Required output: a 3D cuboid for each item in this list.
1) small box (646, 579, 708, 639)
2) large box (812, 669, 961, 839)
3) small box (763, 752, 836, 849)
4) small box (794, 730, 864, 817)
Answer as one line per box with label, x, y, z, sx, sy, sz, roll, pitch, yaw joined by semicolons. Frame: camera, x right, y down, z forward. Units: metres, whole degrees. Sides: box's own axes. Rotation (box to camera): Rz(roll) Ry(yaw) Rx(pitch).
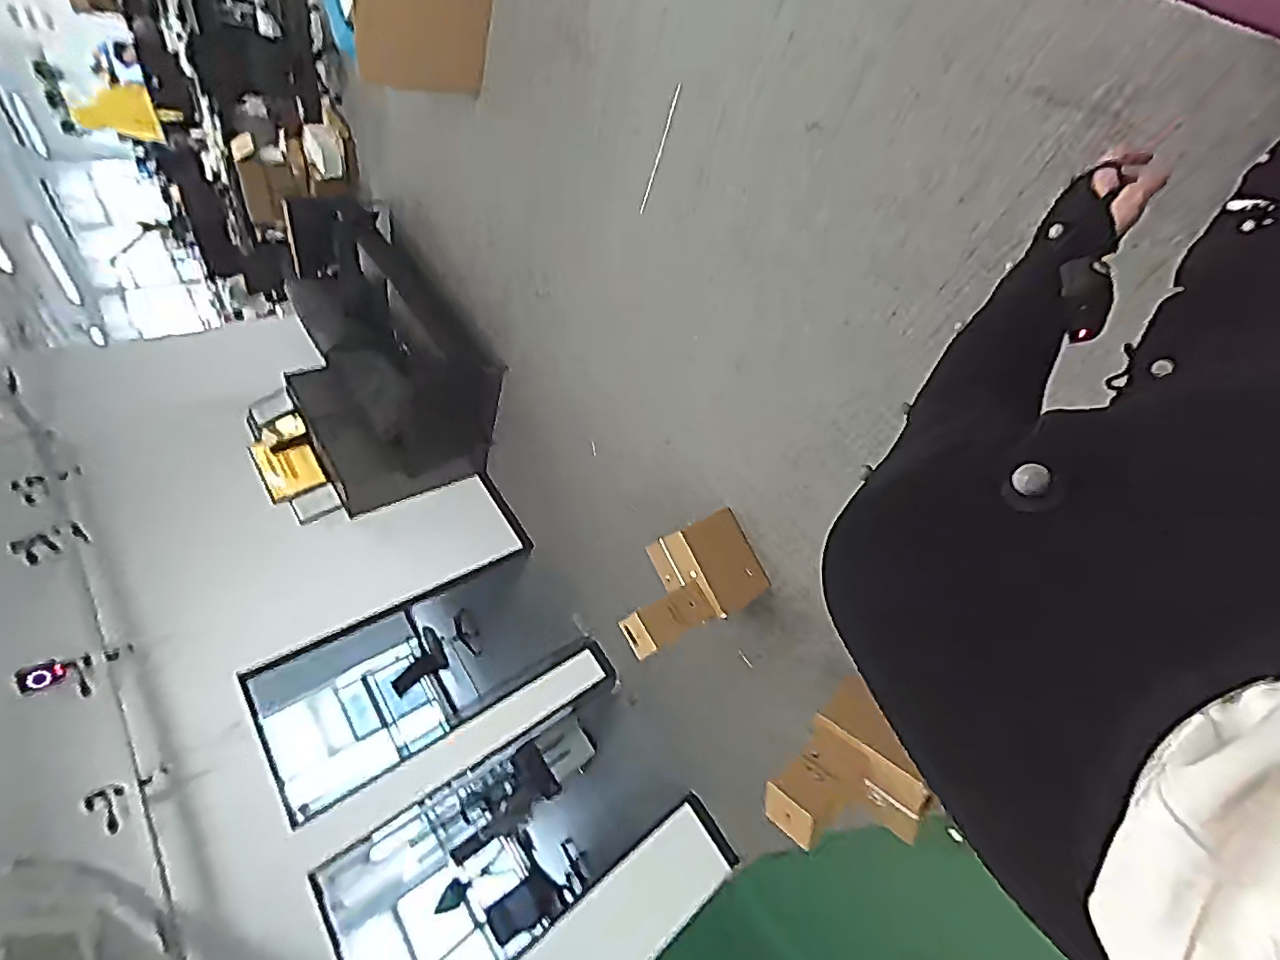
small box;0.163;0.541;2.275;0.168;0.176;0.179;59;143;13
large box;0.888;0.982;1.991;0.408;0.320;0.320;23;127;44
small box;0.528;1.056;1.792;0.168;0.176;0.179;25;126;43
small box;0.652;1.012;1.887;0.179;0.176;0.168;23;126;45
